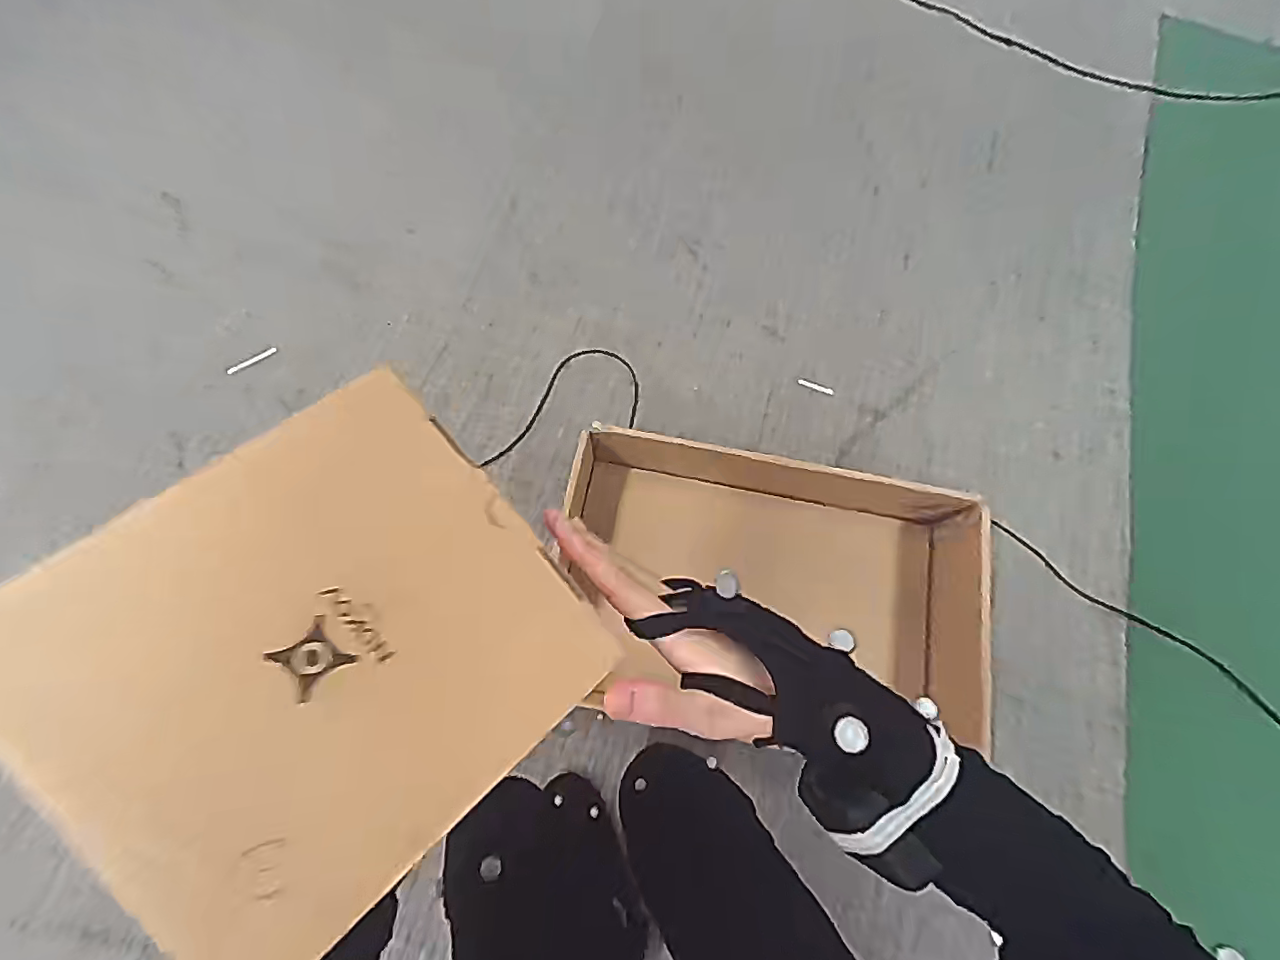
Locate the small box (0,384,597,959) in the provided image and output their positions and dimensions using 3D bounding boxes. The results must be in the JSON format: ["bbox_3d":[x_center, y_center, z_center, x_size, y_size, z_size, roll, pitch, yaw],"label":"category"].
[{"bbox_3d":[-0.150,0.087,0.280,0.179,0.176,0.168,-41,92,-21],"label":"small box"}]
